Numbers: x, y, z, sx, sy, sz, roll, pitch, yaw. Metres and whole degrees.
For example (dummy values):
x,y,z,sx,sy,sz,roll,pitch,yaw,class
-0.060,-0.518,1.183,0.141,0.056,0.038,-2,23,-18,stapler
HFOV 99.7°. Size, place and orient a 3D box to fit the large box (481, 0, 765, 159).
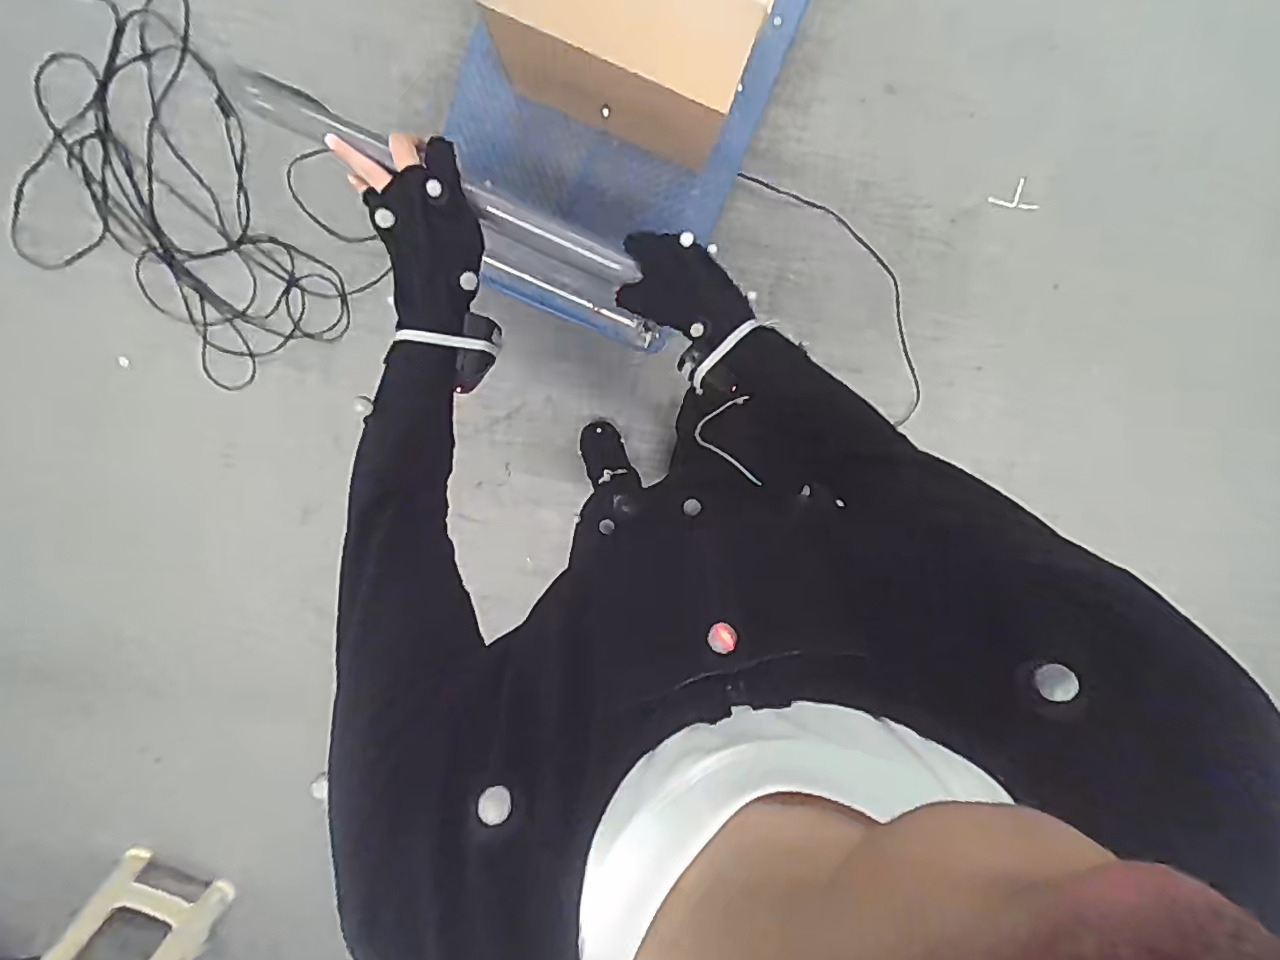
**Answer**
x,y,z,sx,sy,sz,roll,pitch,yaw,class
0.000,-0.820,0.923,0.408,0.320,0.320,19,102,-6,large box
